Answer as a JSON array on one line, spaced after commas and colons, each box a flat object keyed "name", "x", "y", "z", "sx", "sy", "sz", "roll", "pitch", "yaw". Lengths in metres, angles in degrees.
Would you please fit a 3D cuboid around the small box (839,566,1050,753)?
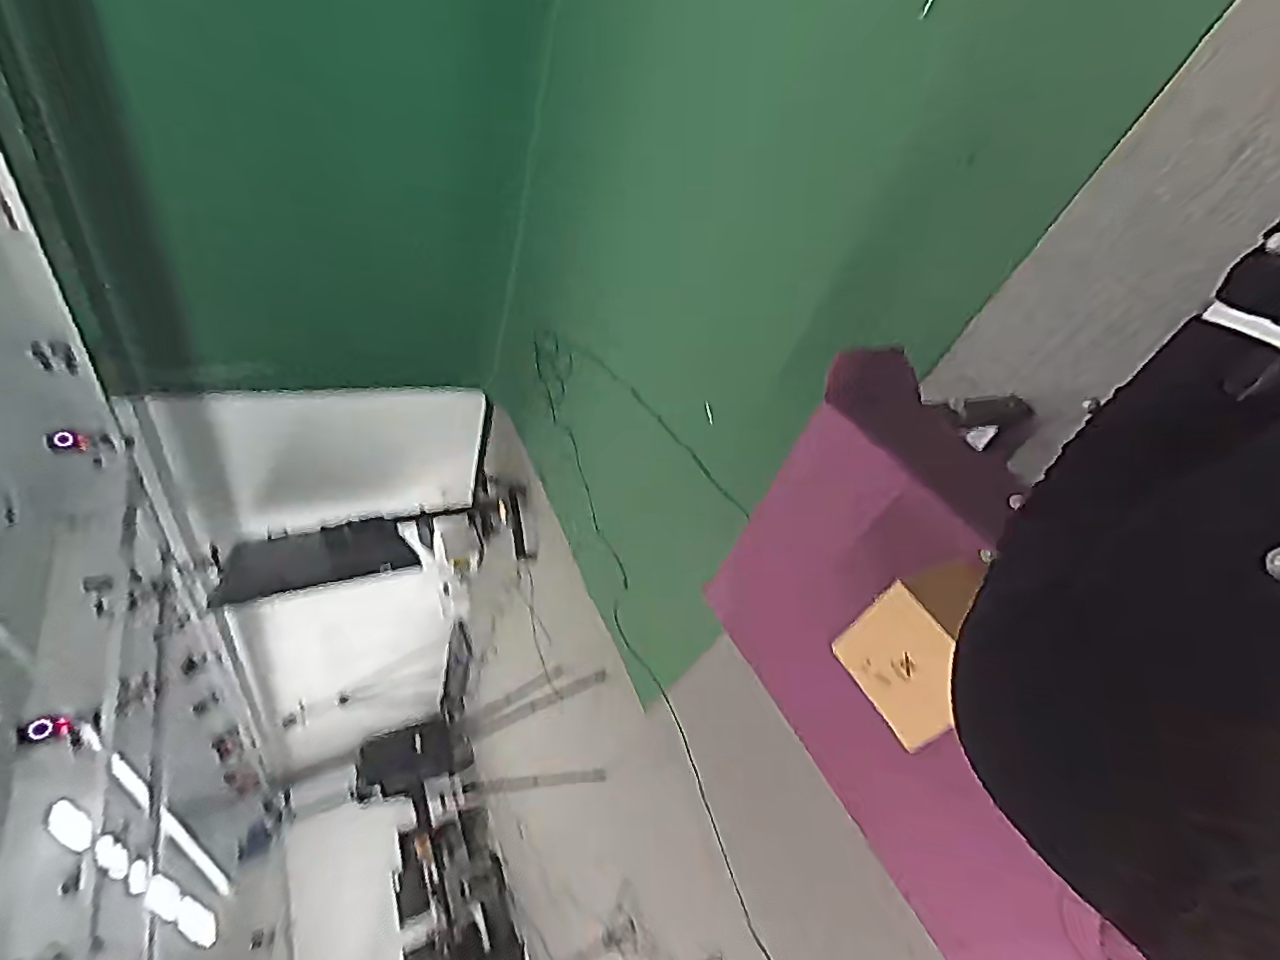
[{"name": "small box", "x": 0.430, "y": 0.244, "z": 0.765, "sx": 0.168, "sy": 0.176, "sz": 0.179, "roll": 56, "pitch": 140, "yaw": 35}]
